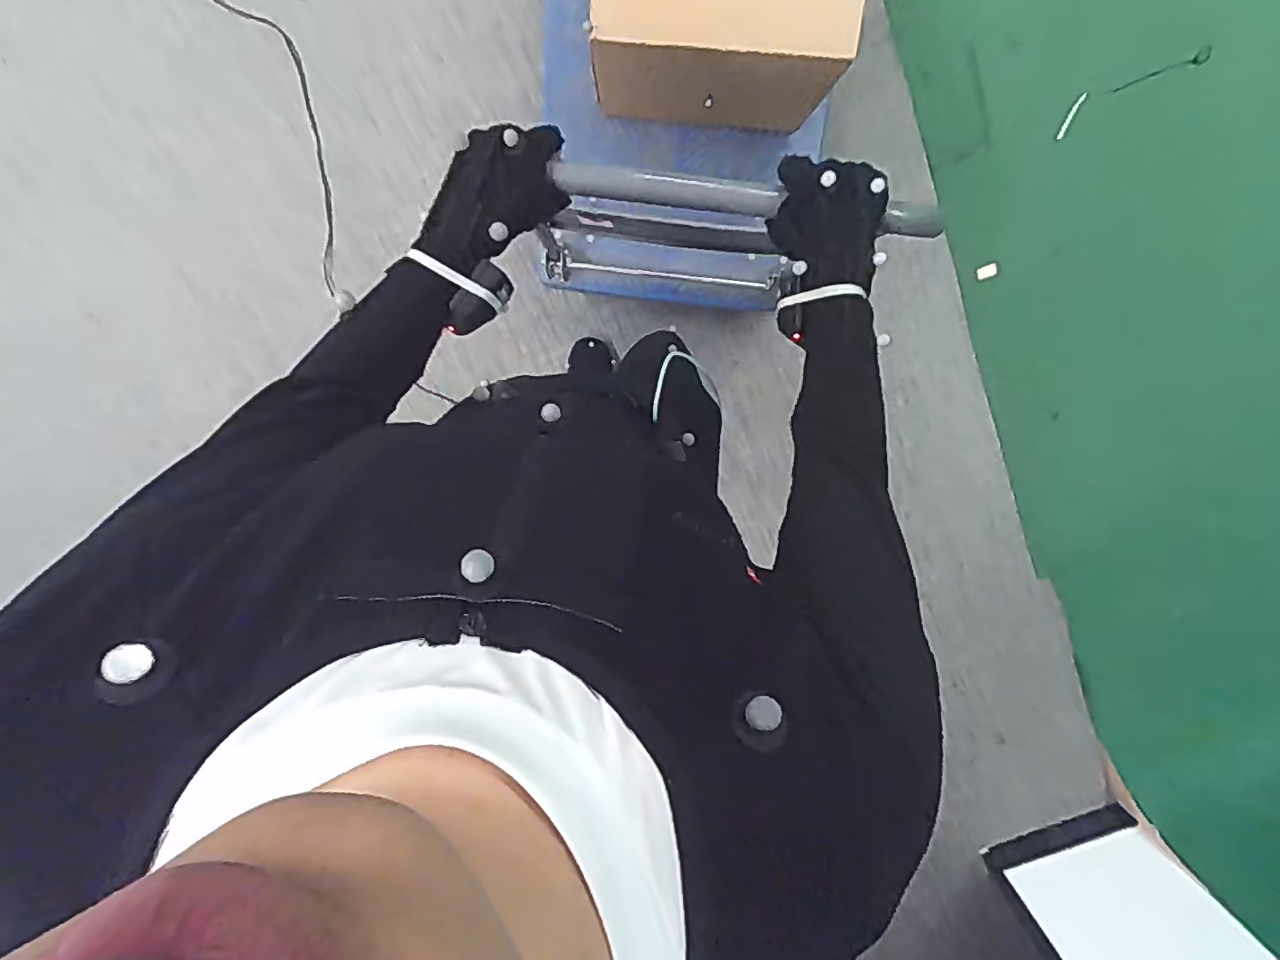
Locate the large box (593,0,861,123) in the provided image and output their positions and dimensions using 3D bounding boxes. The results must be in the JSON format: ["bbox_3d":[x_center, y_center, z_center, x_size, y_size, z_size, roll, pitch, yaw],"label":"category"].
[{"bbox_3d":[0.135,-0.838,0.920,0.408,0.320,0.320,3,105,-1],"label":"large box"}]
